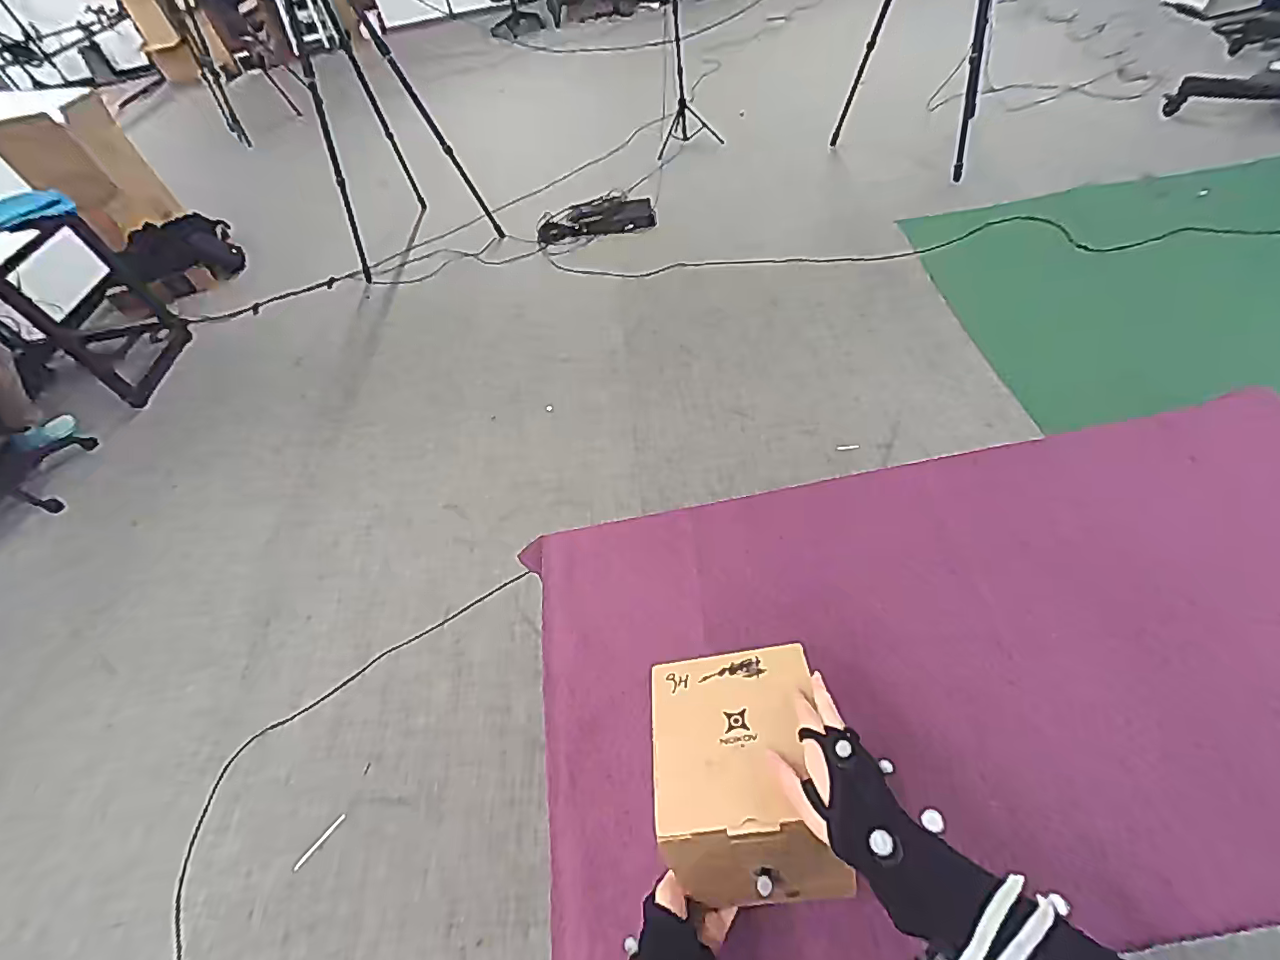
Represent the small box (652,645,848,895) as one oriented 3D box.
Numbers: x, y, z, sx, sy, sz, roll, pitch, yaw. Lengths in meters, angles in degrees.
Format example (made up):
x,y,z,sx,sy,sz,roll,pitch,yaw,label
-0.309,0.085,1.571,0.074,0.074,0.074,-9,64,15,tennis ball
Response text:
x,y,z,sx,sy,sz,roll,pitch,yaw,label
0.111,0.304,0.561,0.168,0.176,0.179,-10,35,8,small box
